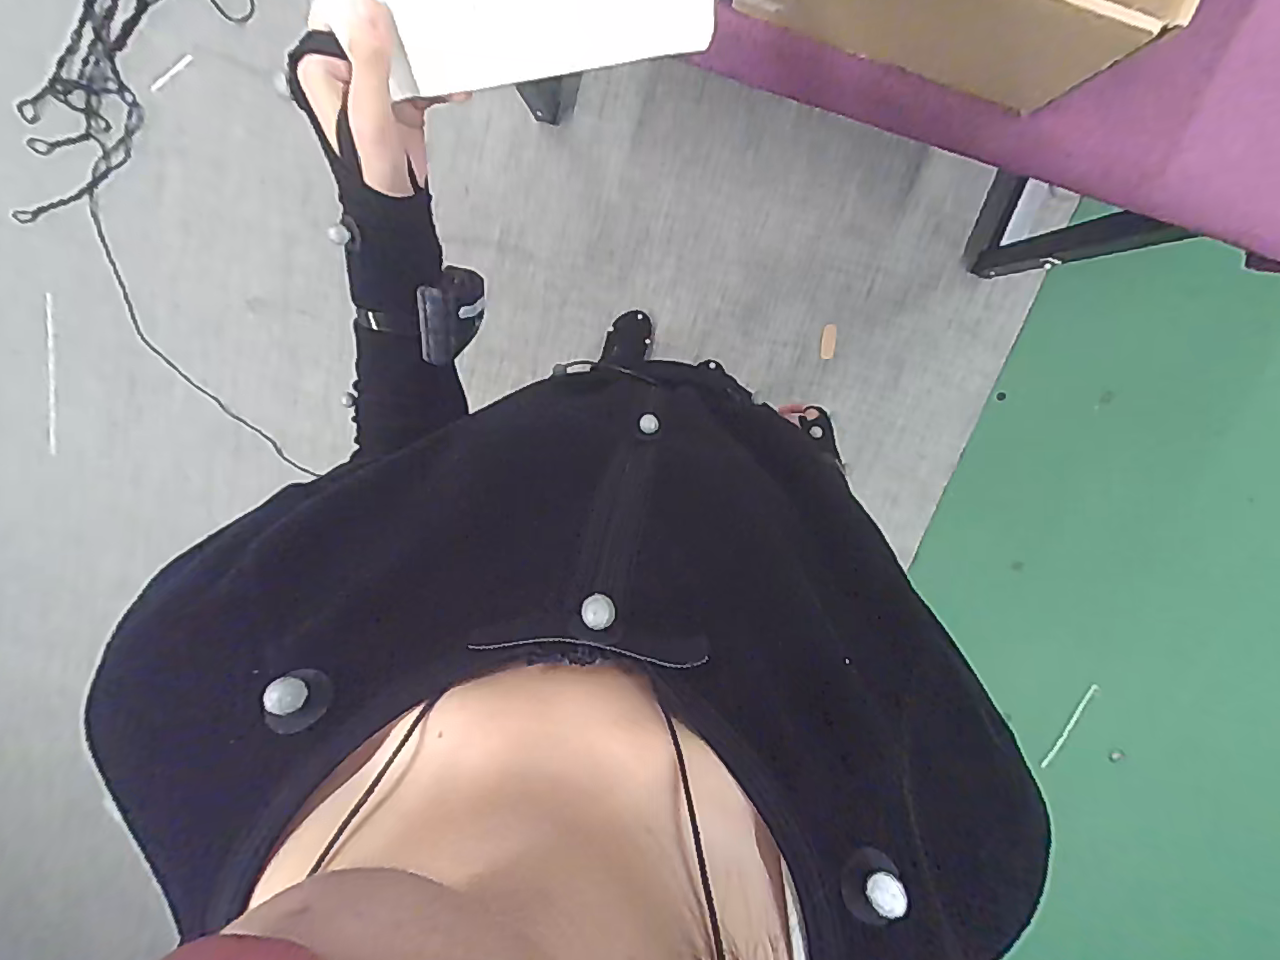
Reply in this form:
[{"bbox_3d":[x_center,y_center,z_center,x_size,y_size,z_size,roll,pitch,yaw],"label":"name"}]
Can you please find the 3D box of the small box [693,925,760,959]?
[{"bbox_3d":[0.226,1.322,1.422,0.168,0.176,0.179,4,104,3],"label":"small box"}]
